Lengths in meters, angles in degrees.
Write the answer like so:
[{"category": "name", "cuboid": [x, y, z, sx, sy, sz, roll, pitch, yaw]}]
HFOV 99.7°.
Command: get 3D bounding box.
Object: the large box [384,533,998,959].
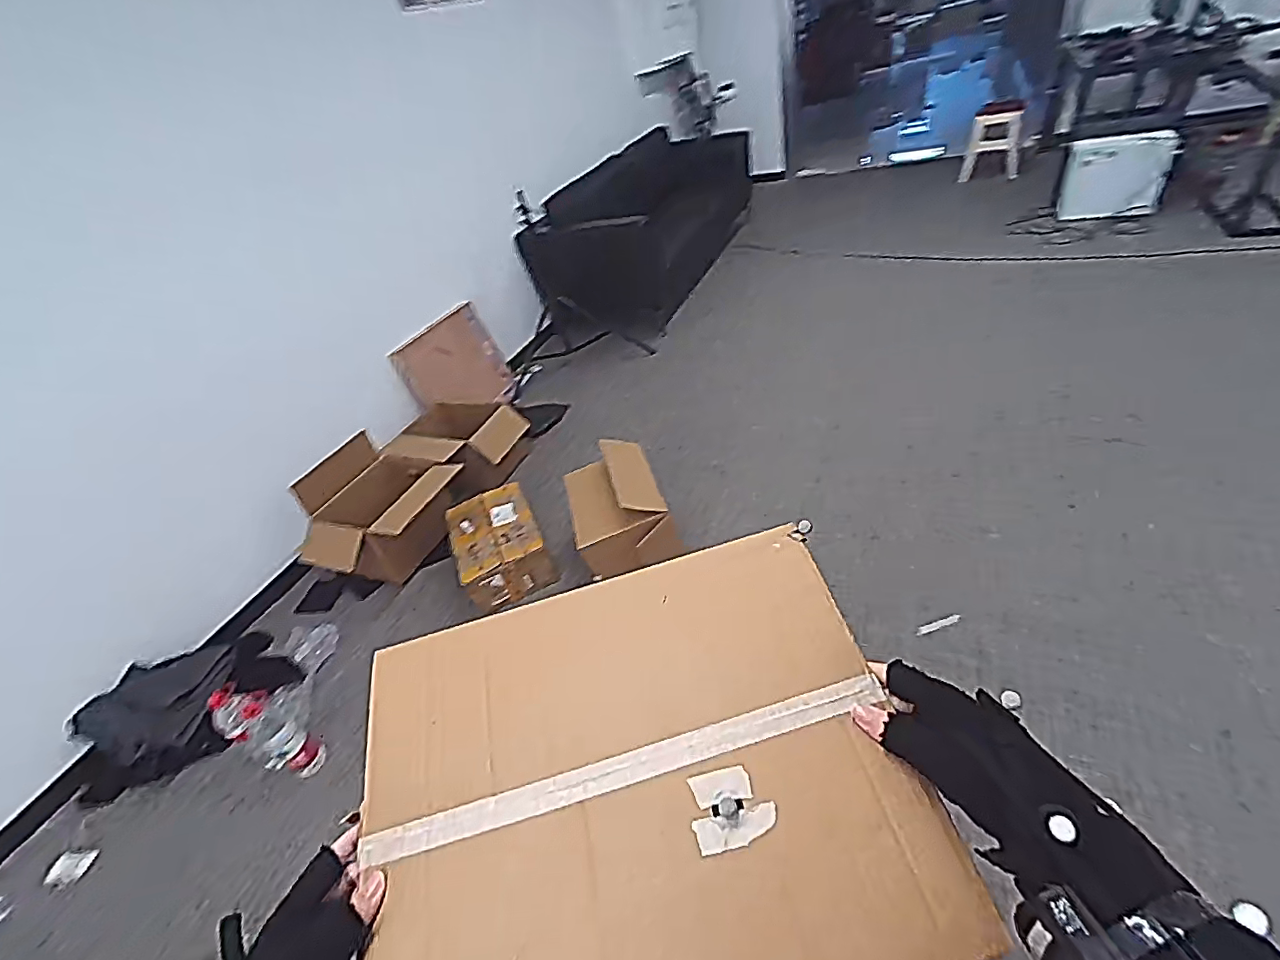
[{"category": "large box", "cuboid": [0.020, 0.312, 0.533, 0.408, 0.320, 0.320, -17, 53, -2]}]
